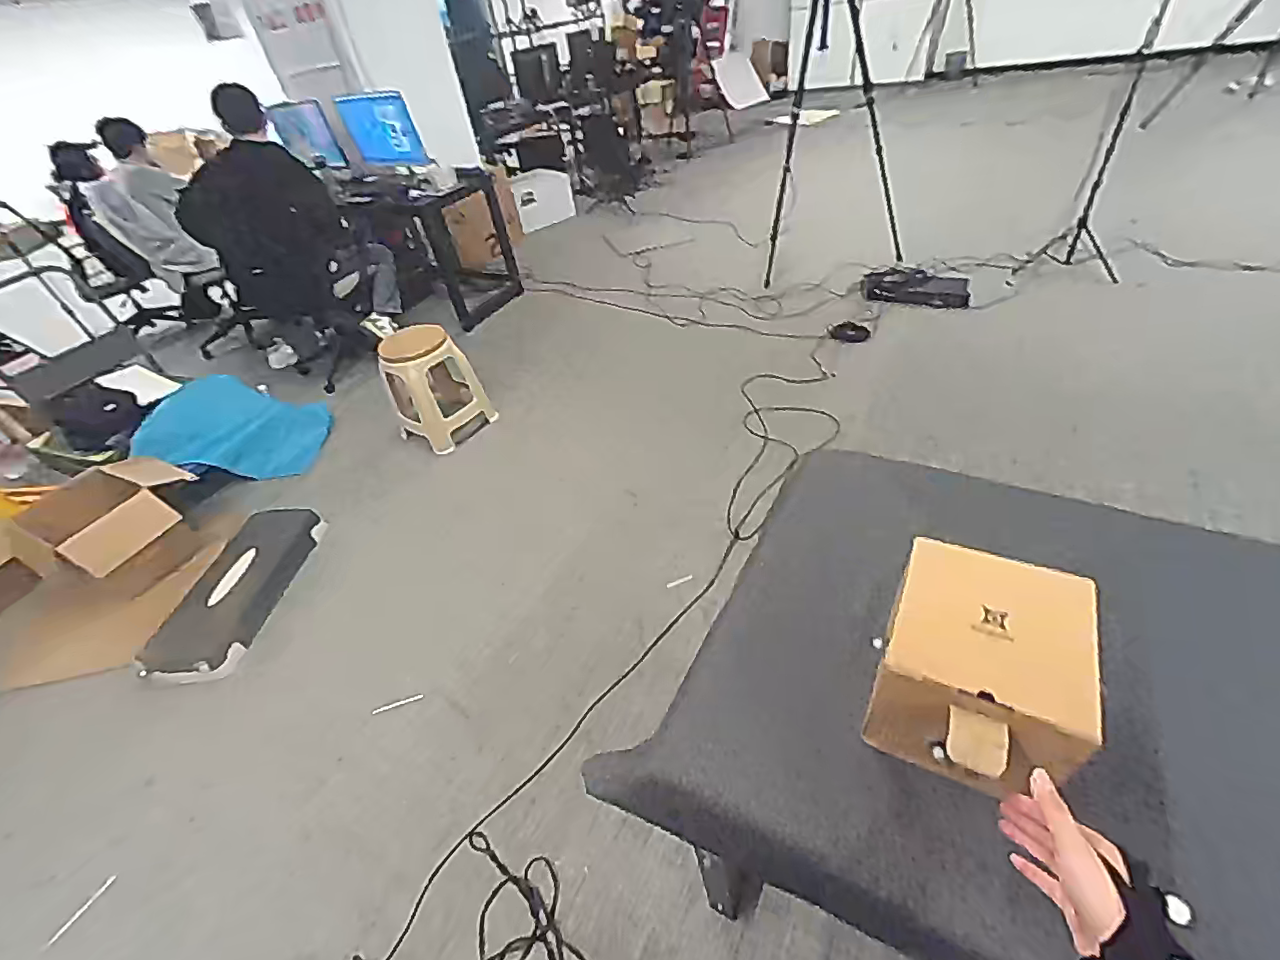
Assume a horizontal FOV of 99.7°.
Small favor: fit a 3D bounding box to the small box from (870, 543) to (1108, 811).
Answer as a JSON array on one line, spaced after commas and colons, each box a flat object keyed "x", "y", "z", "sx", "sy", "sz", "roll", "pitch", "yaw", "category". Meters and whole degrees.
[{"x": 0.354, "y": 0.203, "z": 0.572, "sx": 0.168, "sy": 0.176, "sz": 0.179, "roll": 15, "pitch": 47, "yaw": 26, "category": "small box"}]
